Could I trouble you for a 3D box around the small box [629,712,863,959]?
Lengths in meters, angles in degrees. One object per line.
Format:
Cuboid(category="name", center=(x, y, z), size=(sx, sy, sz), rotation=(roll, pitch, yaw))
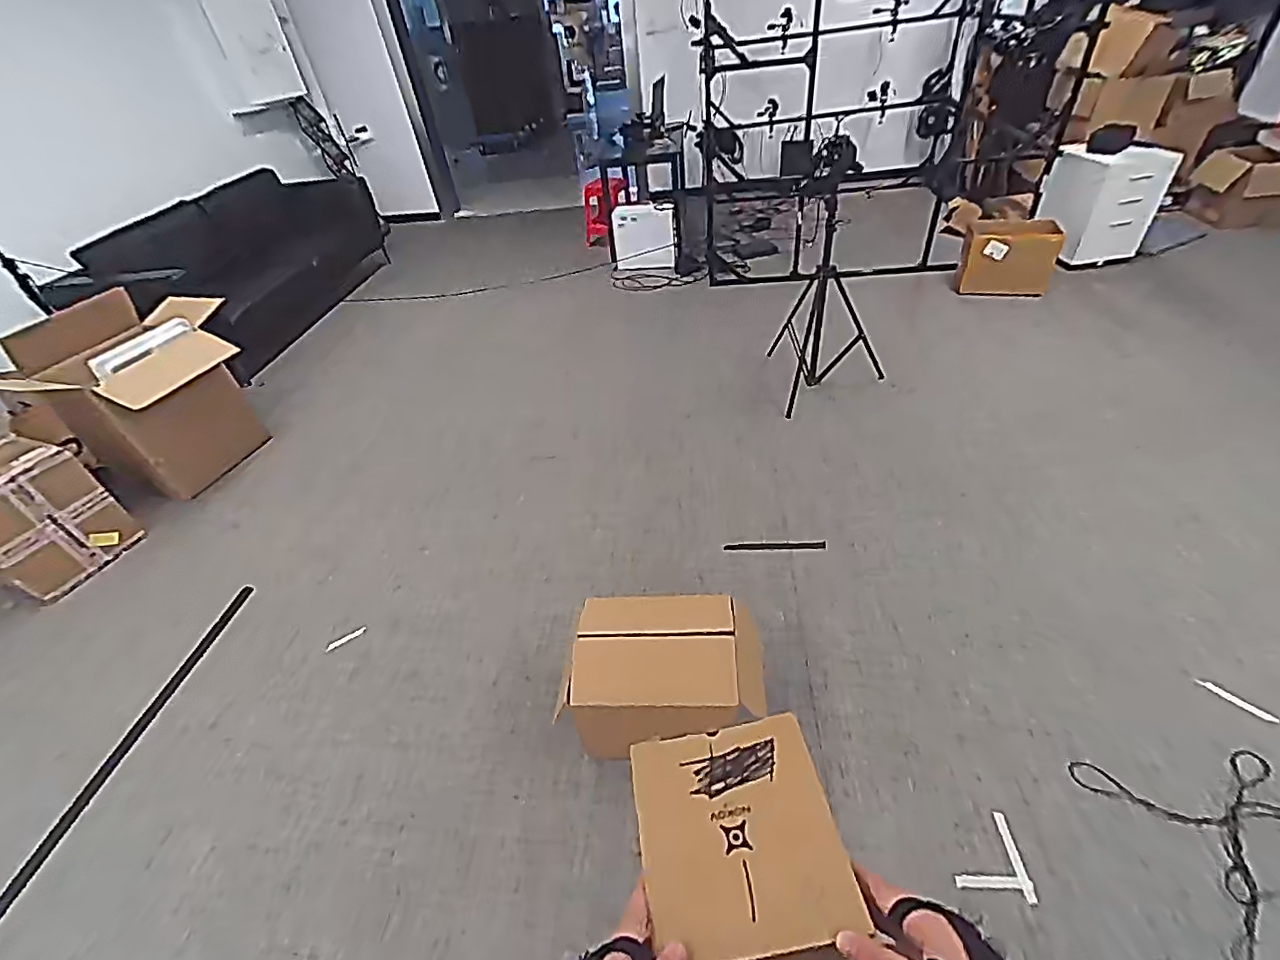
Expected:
Cuboid(category="small box", center=(0.088, 0.358, 0.516), size=(0.168, 0.176, 0.179), rotation=(-11, 38, -1))
